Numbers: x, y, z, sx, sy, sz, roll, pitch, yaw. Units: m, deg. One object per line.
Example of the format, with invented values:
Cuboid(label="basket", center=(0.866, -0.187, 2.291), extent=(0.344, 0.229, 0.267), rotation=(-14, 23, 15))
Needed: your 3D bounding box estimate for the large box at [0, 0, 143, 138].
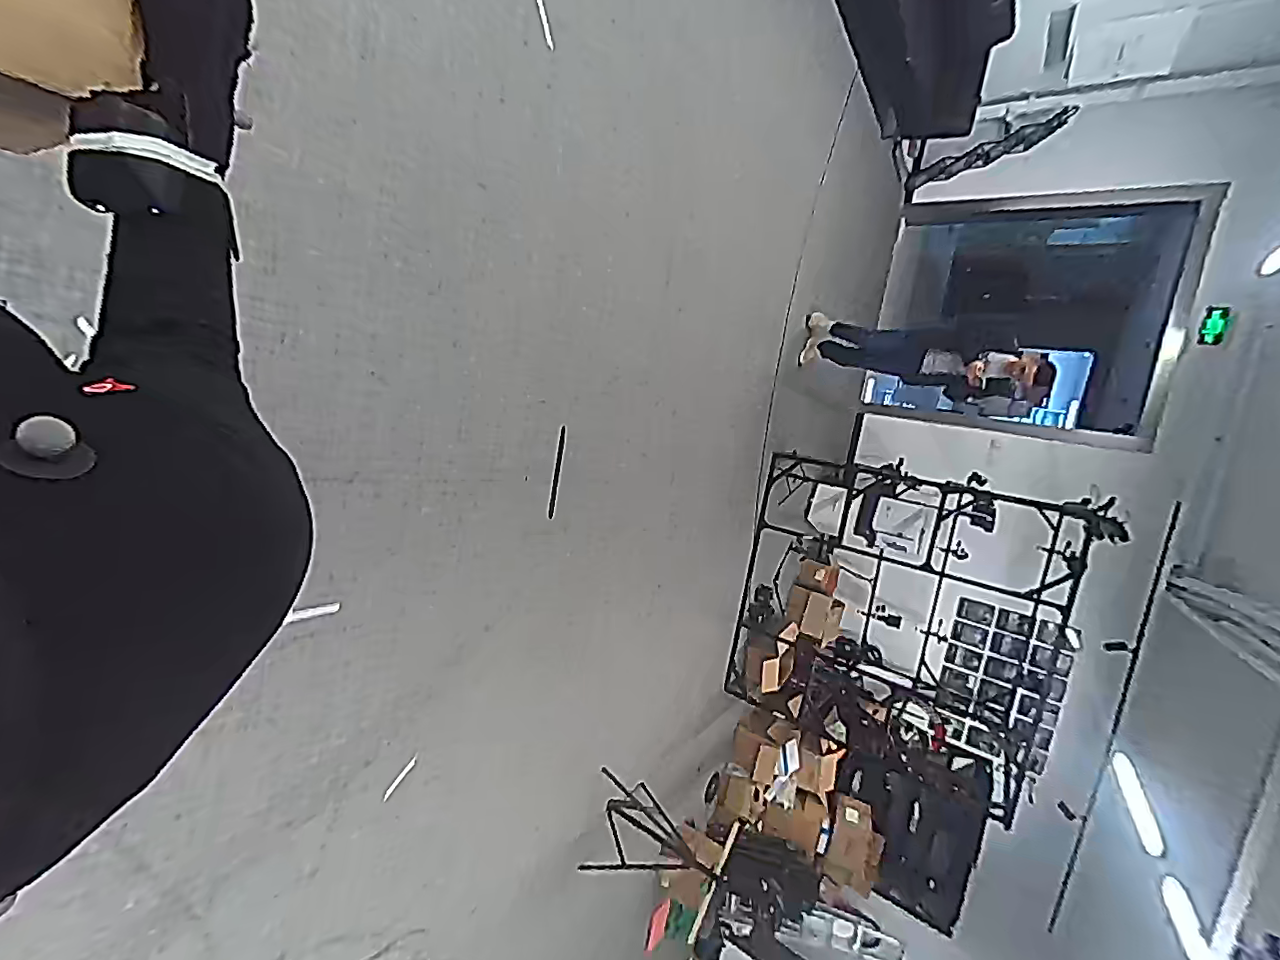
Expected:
Cuboid(label="large box", center=(-0.559, -0.428, 0.261), extent=(0.408, 0.320, 0.320), rotation=(-7, 111, -59))
